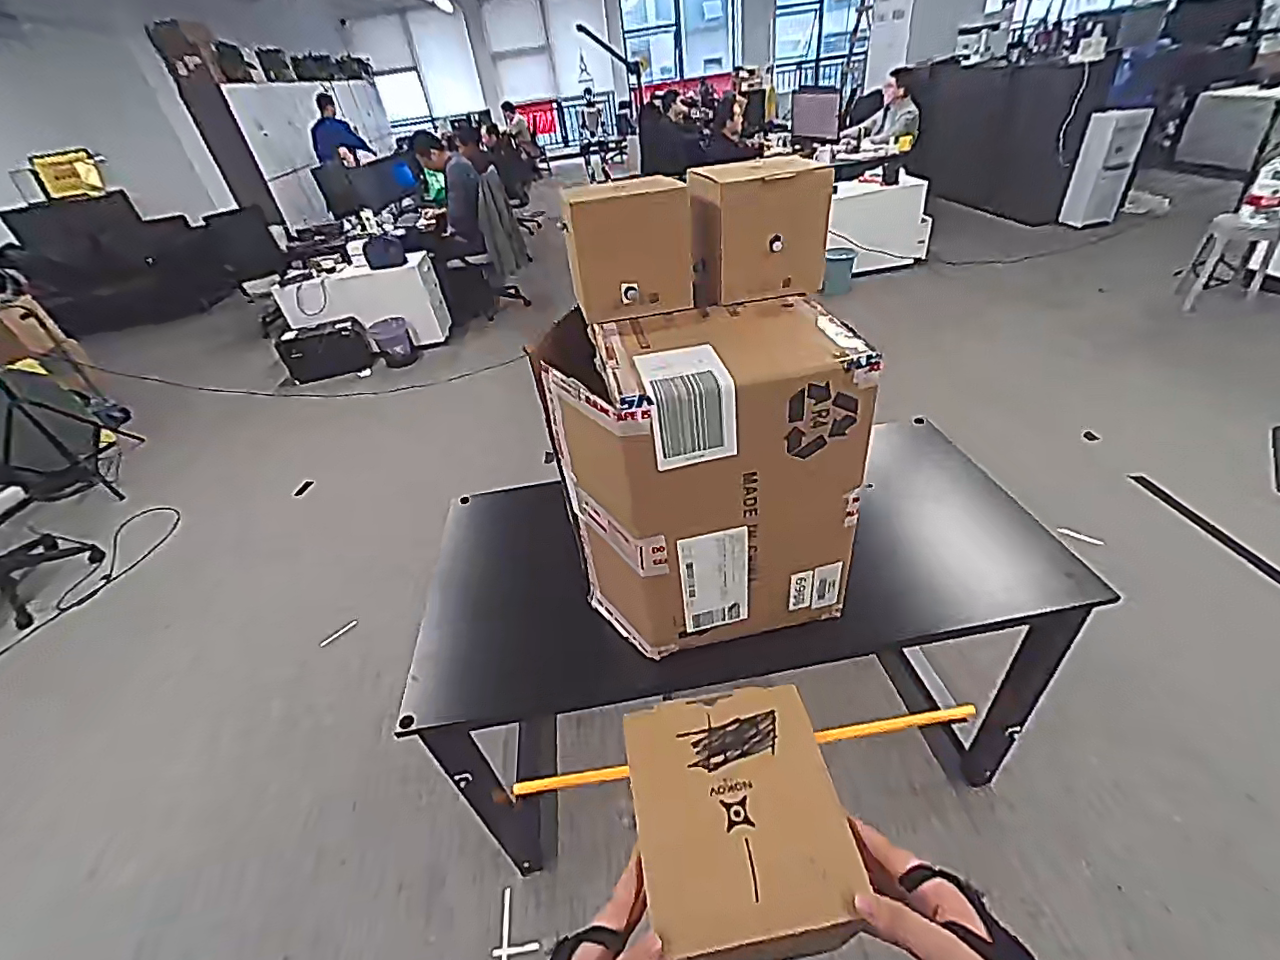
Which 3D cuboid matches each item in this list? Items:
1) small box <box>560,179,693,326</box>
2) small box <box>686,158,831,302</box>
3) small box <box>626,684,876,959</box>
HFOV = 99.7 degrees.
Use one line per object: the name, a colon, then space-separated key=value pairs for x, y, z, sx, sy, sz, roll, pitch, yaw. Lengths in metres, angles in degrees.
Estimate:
small box: x=-0.022 y=-0.351 z=0.830 sx=0.168 sy=0.176 sz=0.179 roll=-13 pitch=35 yaw=-6
small box: x=0.174 y=-0.386 z=0.842 sx=0.168 sy=0.176 sz=0.179 roll=-10 pitch=37 yaw=-7
small box: x=0.081 y=0.319 z=0.495 sx=0.168 sy=0.176 sz=0.179 roll=-9 pitch=43 yaw=-4
